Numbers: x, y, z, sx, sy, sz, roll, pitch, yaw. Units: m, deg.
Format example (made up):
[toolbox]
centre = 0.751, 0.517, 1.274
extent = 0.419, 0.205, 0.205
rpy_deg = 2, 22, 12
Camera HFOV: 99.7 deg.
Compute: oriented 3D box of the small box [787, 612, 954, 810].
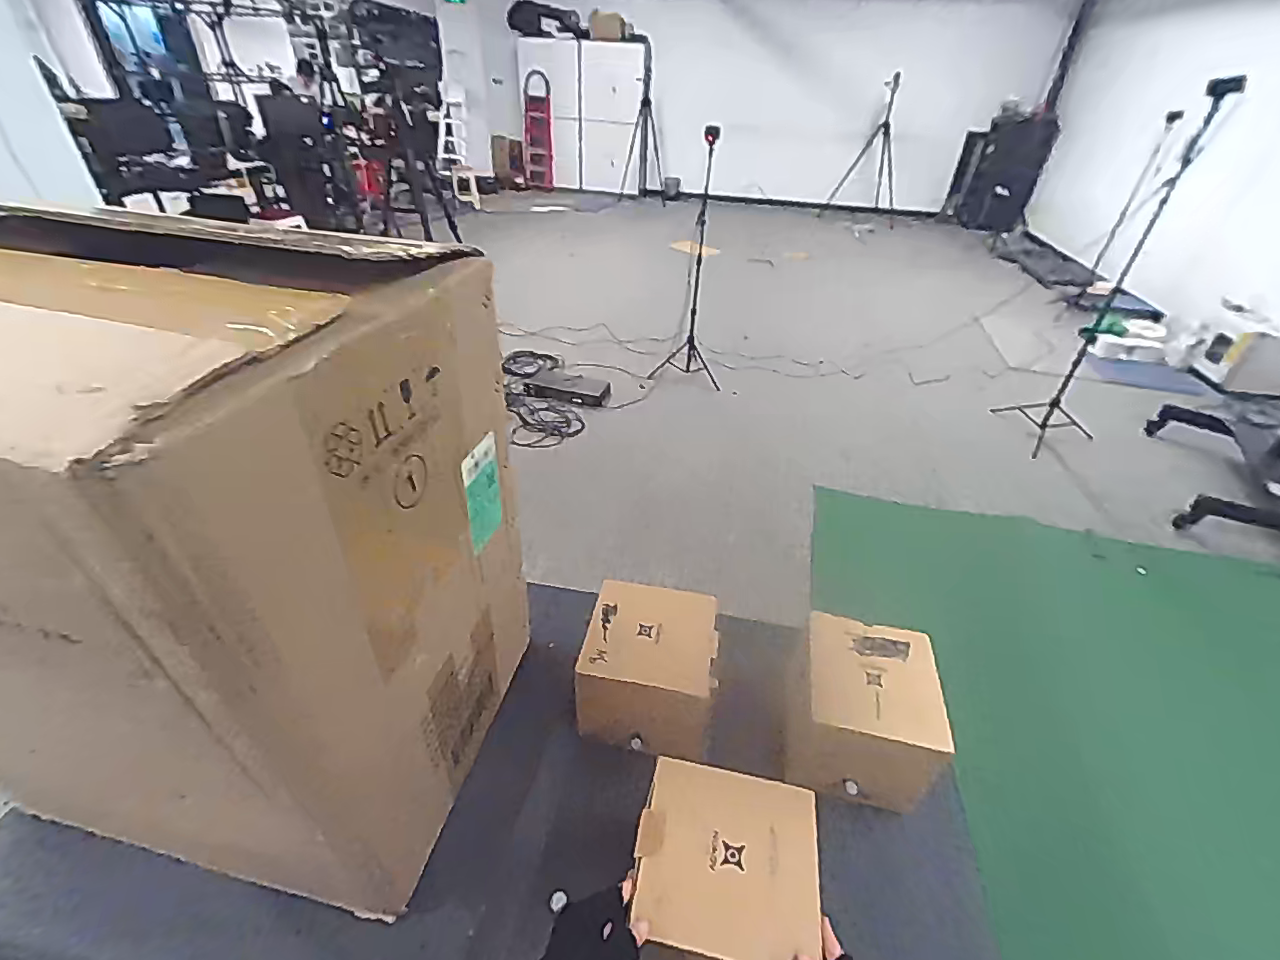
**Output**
[small box]
centre = 0.307, 0.320, 0.760
extent = 0.168, 0.176, 0.179
rpy_deg = 10, 38, 10
